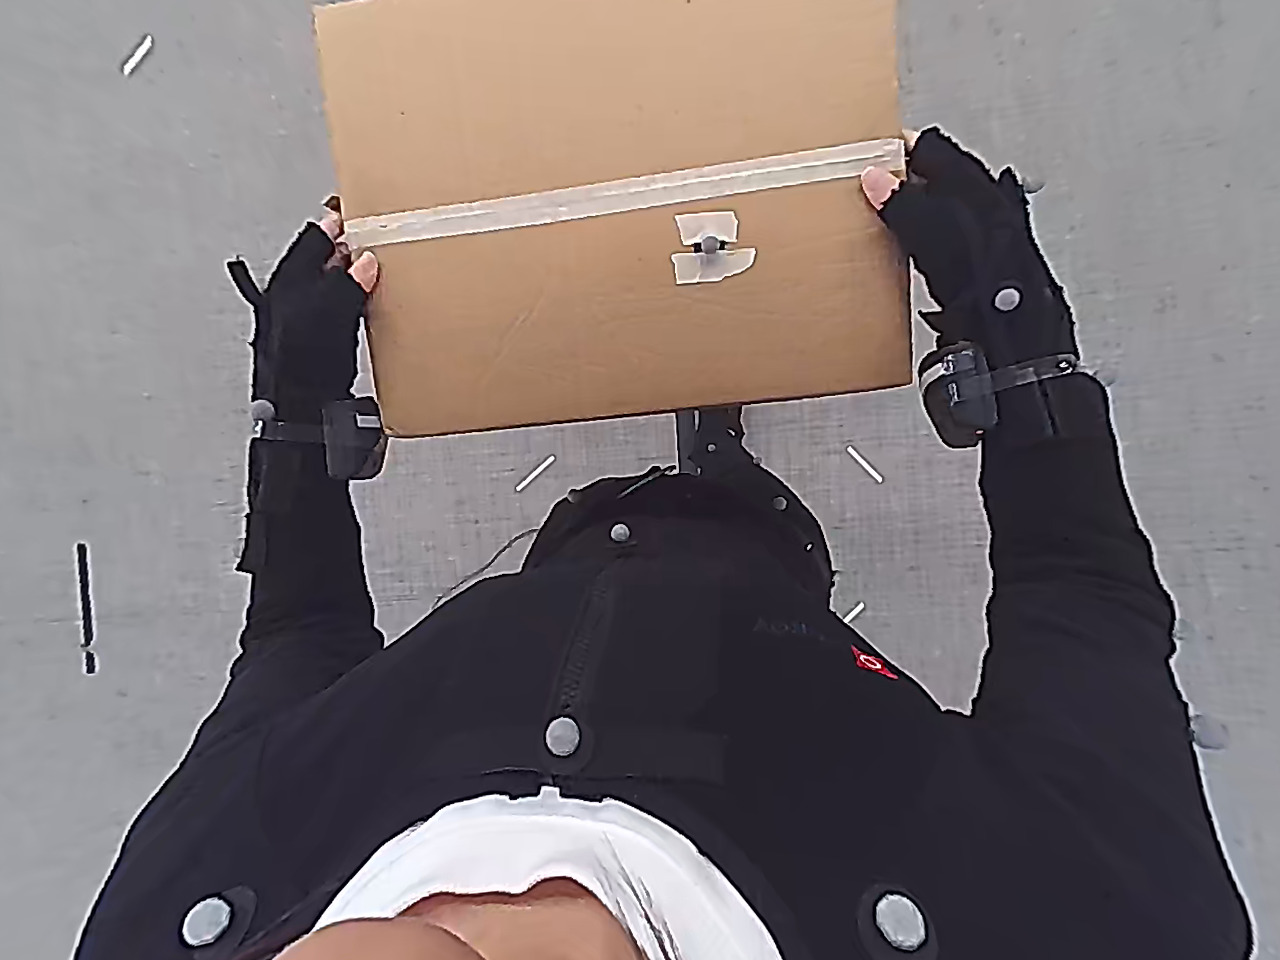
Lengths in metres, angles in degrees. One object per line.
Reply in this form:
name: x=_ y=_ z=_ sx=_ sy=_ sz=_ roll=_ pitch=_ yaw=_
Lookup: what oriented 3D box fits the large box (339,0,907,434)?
large box: x=-0.004 y=-0.230 z=0.552 sx=0.408 sy=0.320 sz=0.320 roll=-6 pitch=98 yaw=5
